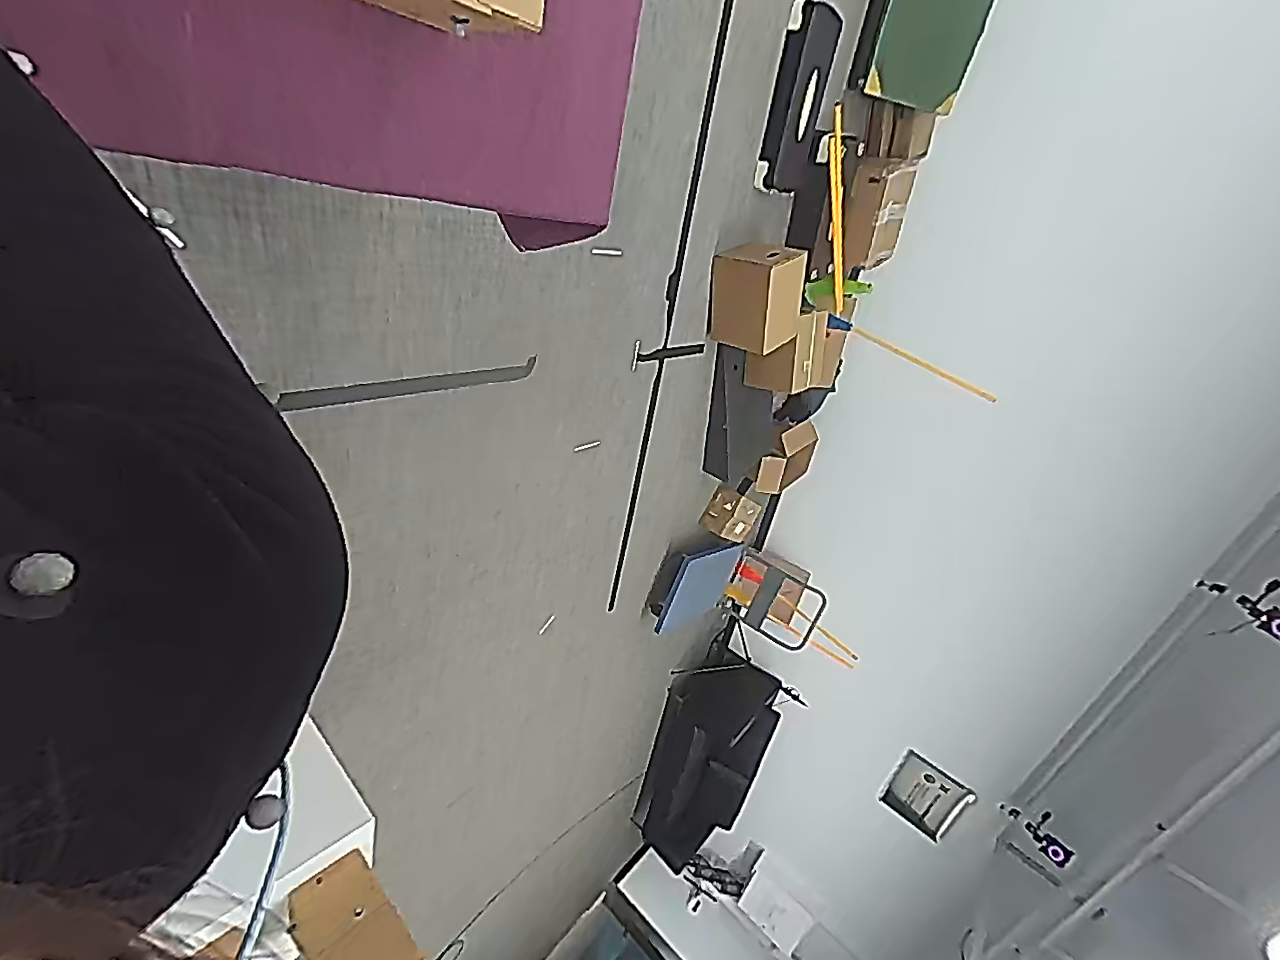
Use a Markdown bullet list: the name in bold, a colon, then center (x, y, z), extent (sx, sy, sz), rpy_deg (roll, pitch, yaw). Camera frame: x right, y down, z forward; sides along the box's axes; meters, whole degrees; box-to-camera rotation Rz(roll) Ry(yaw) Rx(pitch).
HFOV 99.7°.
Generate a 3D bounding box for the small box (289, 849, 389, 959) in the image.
- **small box**: center (-0.751, 1.078, 1.345), extent (0.168, 0.176, 0.179), rpy_deg (-15, 129, -50)

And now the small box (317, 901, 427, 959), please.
- **small box**: center (-0.627, 1.147, 1.259), extent (0.179, 0.176, 0.168), rpy_deg (-15, 127, -49)

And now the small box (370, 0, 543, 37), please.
- **small box**: center (-0.199, -0.538, 0.492), extent (0.168, 0.176, 0.179), rpy_deg (-22, 133, -46)
